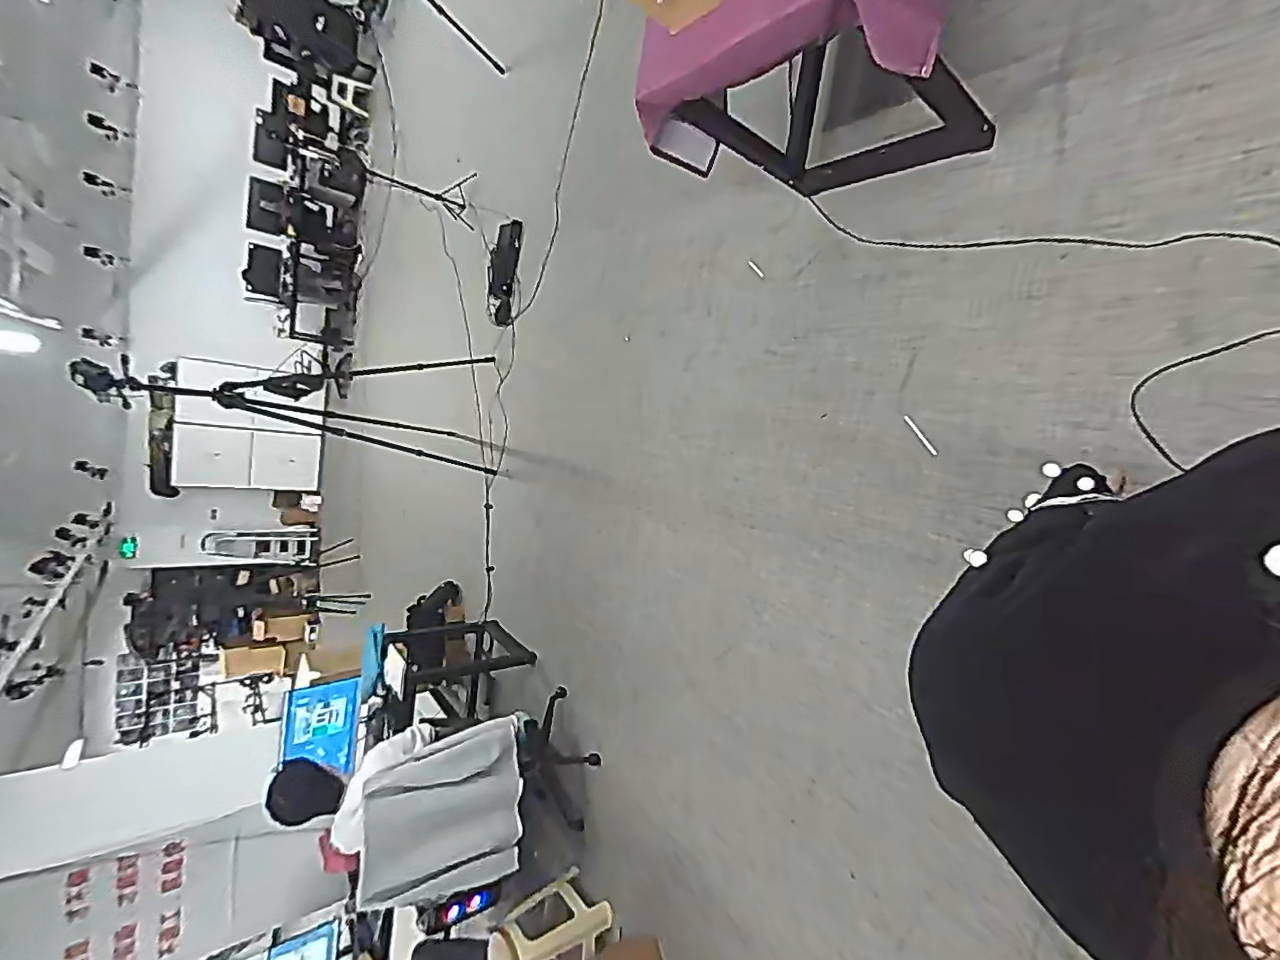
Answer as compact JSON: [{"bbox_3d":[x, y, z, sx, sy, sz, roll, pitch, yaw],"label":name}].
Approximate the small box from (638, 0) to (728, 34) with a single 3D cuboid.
[{"bbox_3d":[0.097,-1.127,1.172,0.179,0.176,0.168,19,101,50],"label":"small box"}]
